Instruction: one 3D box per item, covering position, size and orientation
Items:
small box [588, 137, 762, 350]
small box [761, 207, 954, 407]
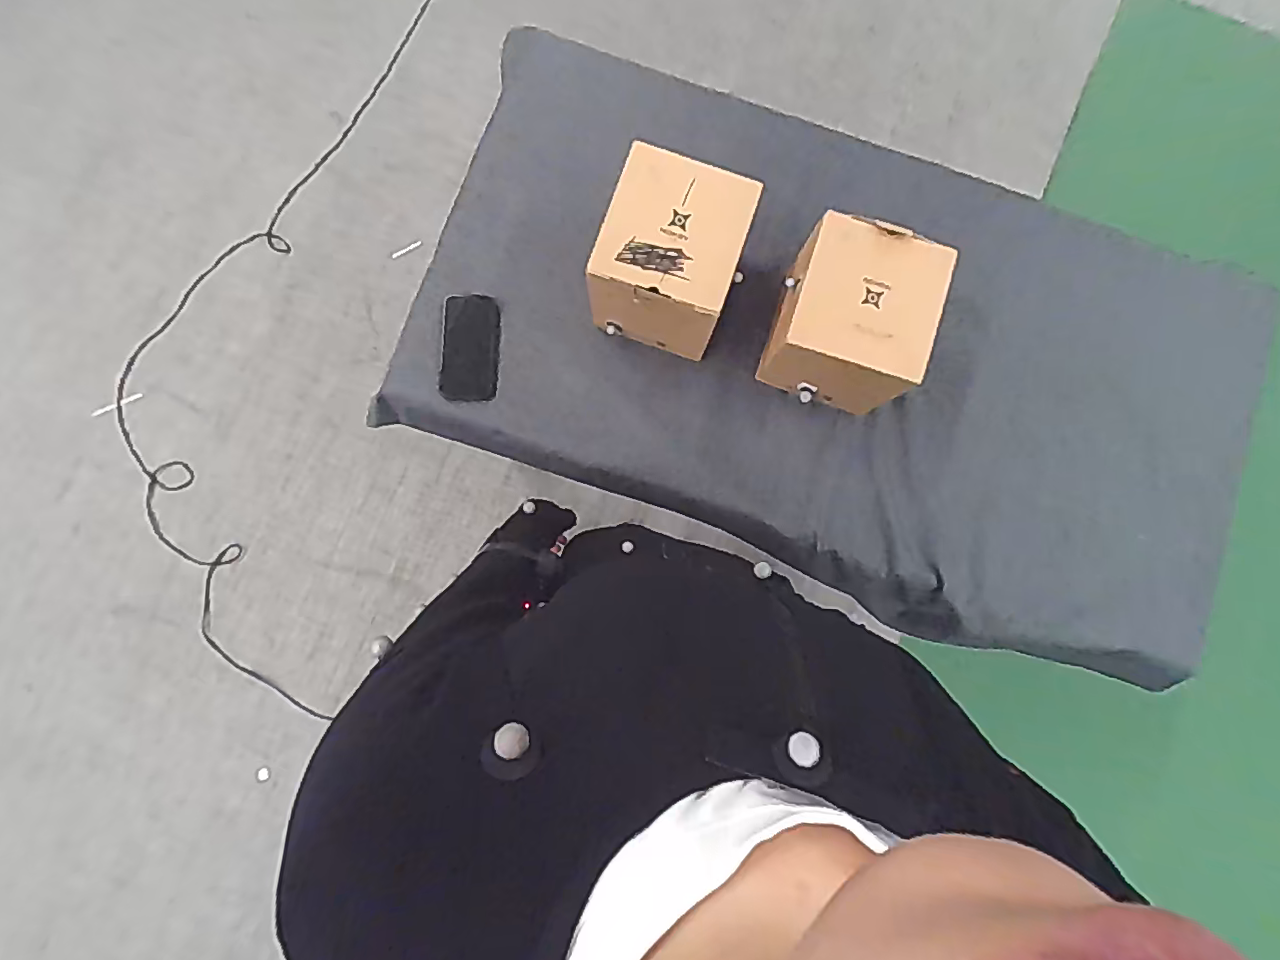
[{"bbox_3d":[0.041,-0.296,0.716,0.168,0.176,0.179,19,83,0],"label":"small box"},{"bbox_3d":[0.274,-0.215,0.720,0.168,0.176,0.179,18,85,1],"label":"small box"}]
